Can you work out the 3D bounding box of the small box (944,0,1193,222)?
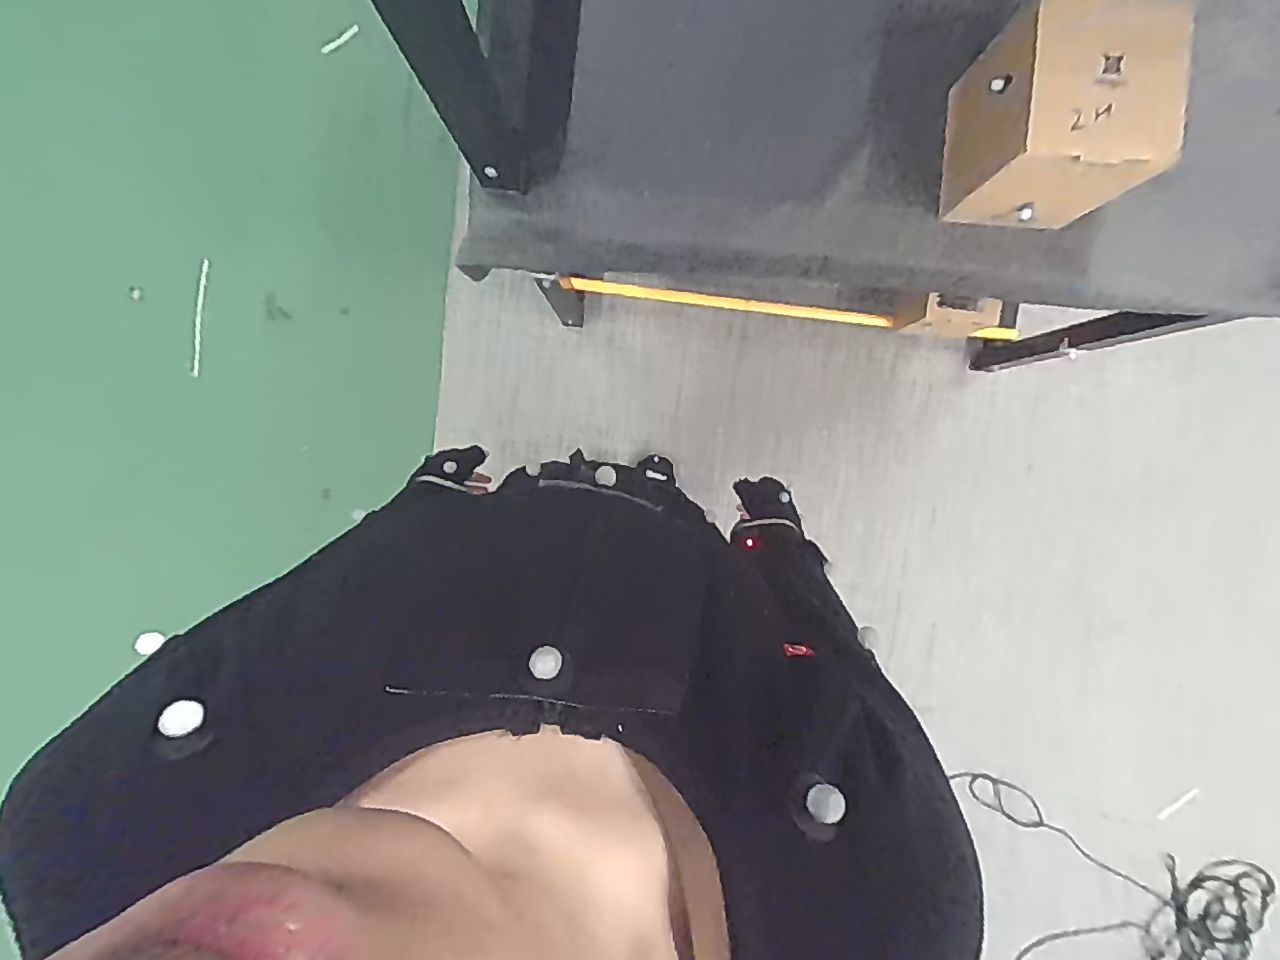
[{"bbox_3d":[0.495,-0.440,0.651,0.168,0.176,0.179,4,92,0],"label":"small box"}]
